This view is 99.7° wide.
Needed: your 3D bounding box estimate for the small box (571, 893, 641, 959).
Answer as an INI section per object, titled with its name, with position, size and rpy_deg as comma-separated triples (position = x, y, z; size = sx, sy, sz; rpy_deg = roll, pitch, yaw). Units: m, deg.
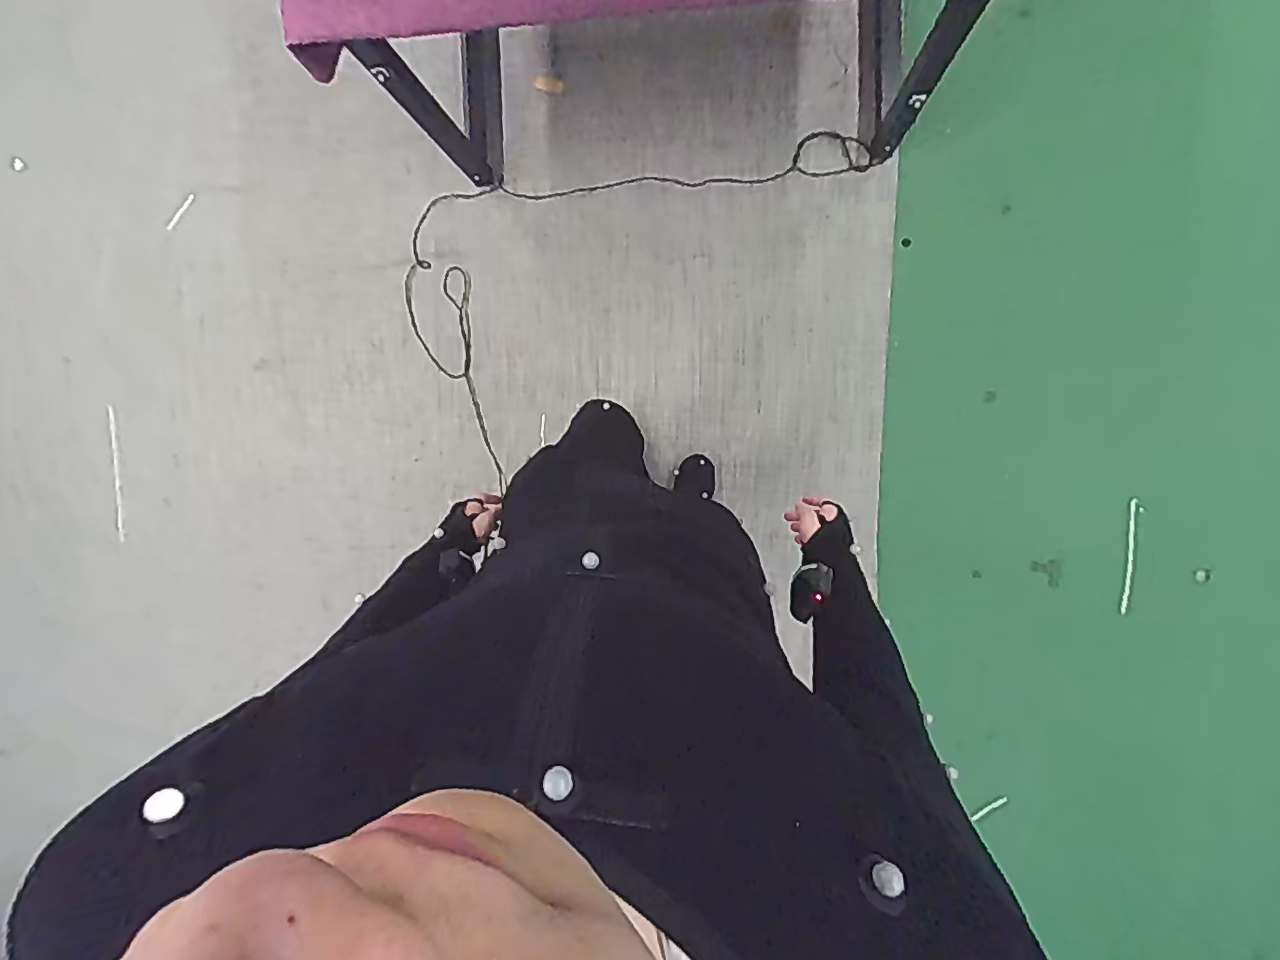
[small box]
position = -0.087, 1.267, 1.452
size = 0.168, 0.176, 0.179
rpy_deg = 0, 95, 6
